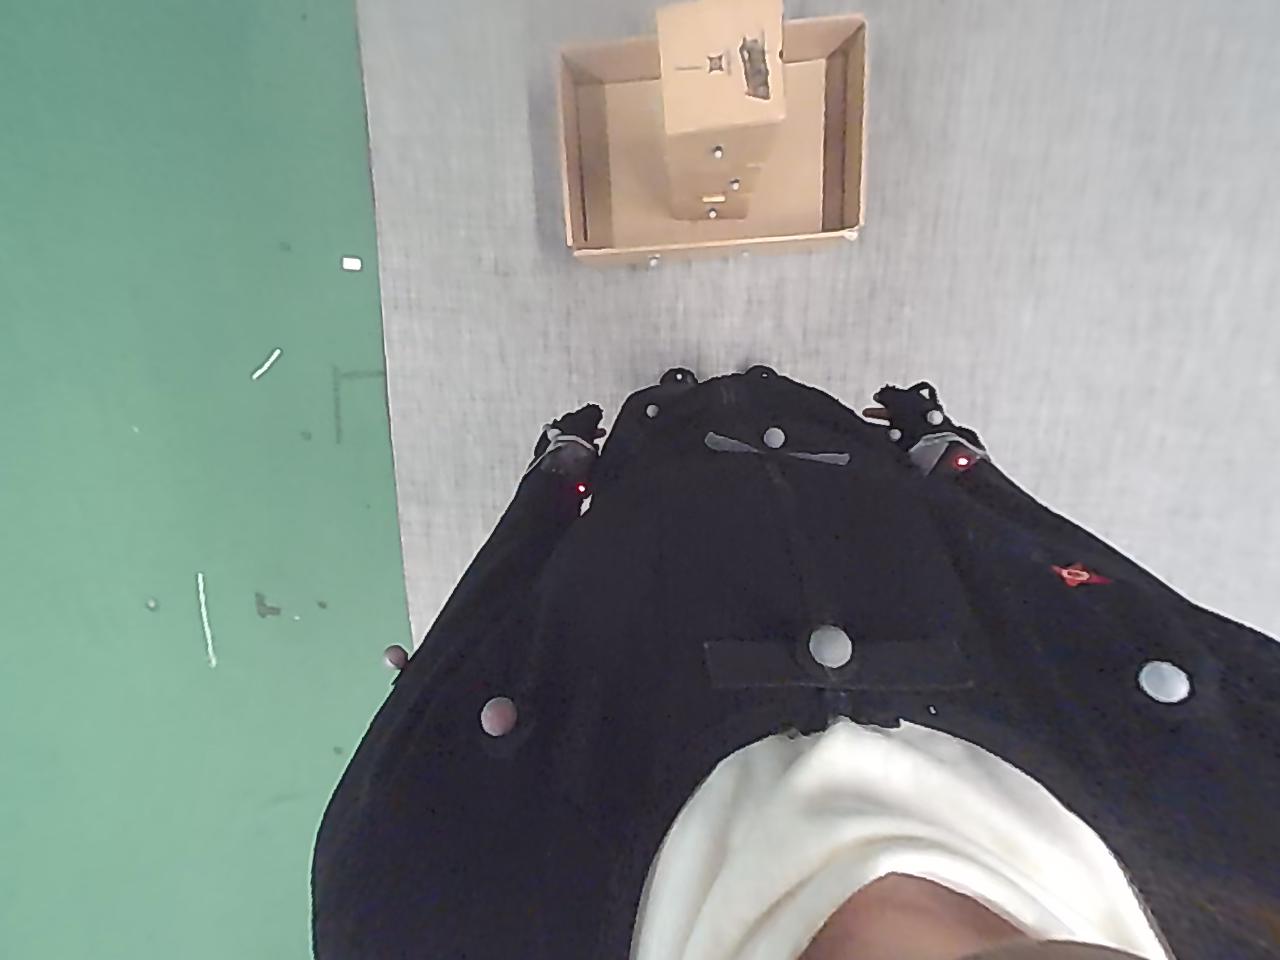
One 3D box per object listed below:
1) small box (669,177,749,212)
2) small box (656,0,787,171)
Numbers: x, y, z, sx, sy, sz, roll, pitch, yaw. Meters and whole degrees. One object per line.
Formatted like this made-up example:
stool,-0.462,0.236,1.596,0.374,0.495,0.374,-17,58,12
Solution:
small box,0.152,-0.684,1.159,0.168,0.176,0.179,2,103,6
small box,0.121,-0.608,0.843,0.179,0.176,0.168,-7,102,6
